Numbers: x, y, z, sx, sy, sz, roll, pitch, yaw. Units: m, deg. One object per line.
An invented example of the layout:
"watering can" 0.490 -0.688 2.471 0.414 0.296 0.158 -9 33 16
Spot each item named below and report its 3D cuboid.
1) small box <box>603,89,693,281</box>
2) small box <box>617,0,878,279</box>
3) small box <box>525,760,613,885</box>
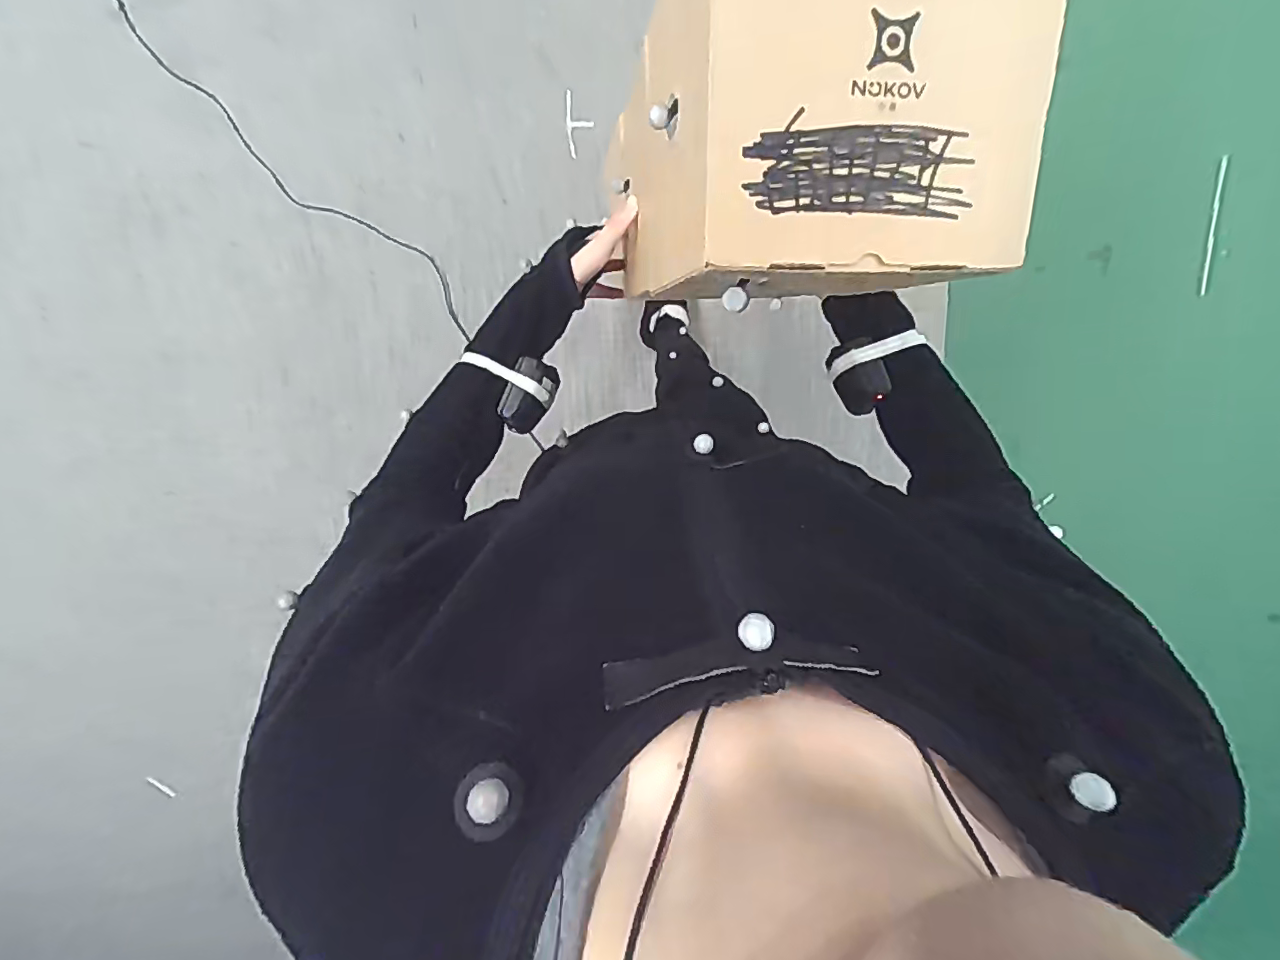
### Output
"small box" 0.057 -0.329 0.629 0.179 0.176 0.168 -7 106 -7
"small box" 0.077 -0.274 0.476 0.179 0.176 0.168 -4 105 -7
"small box" -0.157 0.761 1.221 0.179 0.176 0.168 -4 102 -4
